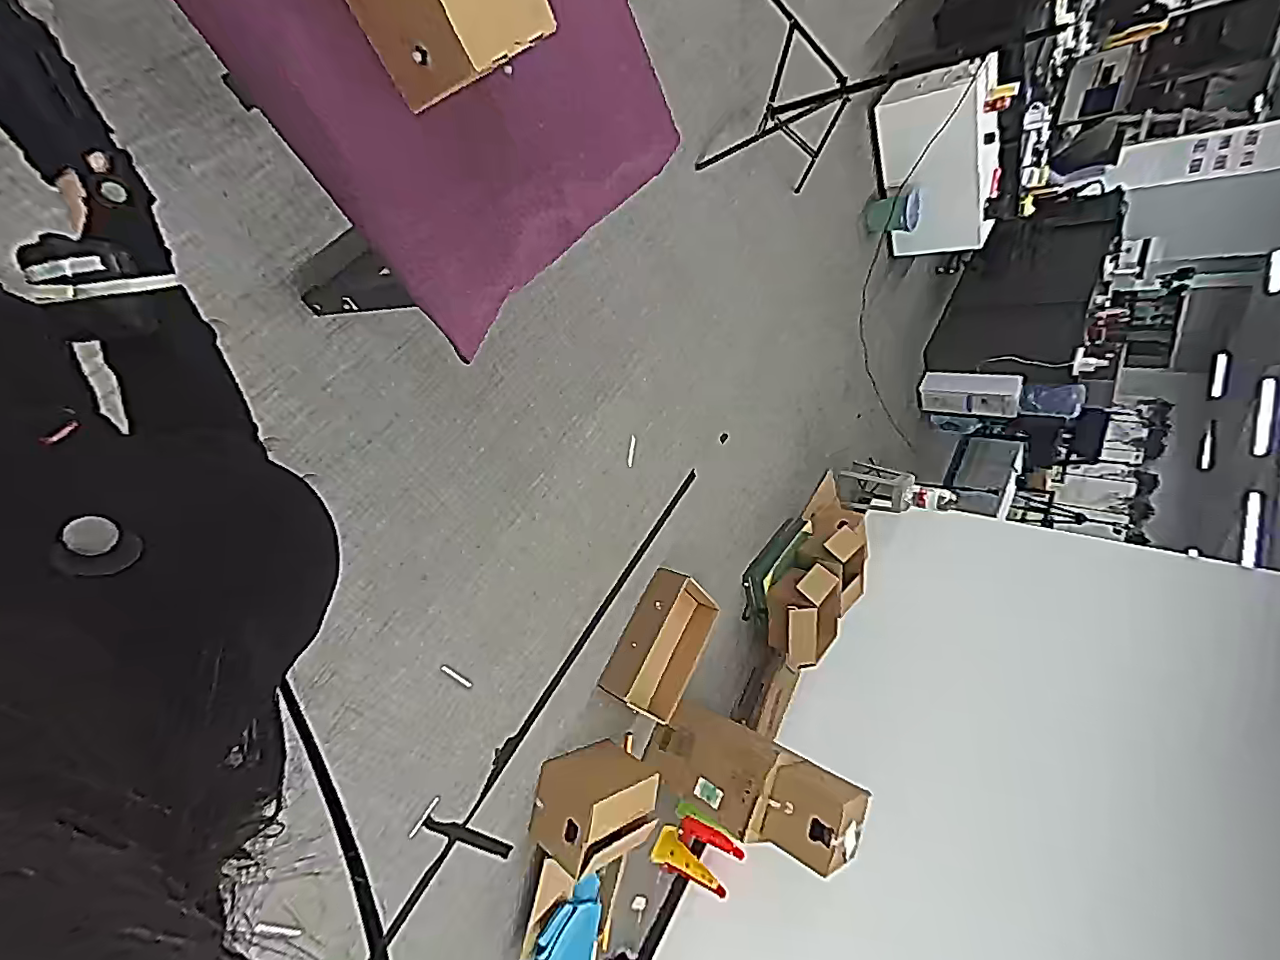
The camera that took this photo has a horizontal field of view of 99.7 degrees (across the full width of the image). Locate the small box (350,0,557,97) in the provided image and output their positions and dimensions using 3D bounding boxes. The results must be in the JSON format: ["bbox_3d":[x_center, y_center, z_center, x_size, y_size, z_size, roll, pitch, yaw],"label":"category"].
[{"bbox_3d":[-0.244,-0.614,0.675,0.168,0.176,0.179,-53,133,-28],"label":"small box"}]
